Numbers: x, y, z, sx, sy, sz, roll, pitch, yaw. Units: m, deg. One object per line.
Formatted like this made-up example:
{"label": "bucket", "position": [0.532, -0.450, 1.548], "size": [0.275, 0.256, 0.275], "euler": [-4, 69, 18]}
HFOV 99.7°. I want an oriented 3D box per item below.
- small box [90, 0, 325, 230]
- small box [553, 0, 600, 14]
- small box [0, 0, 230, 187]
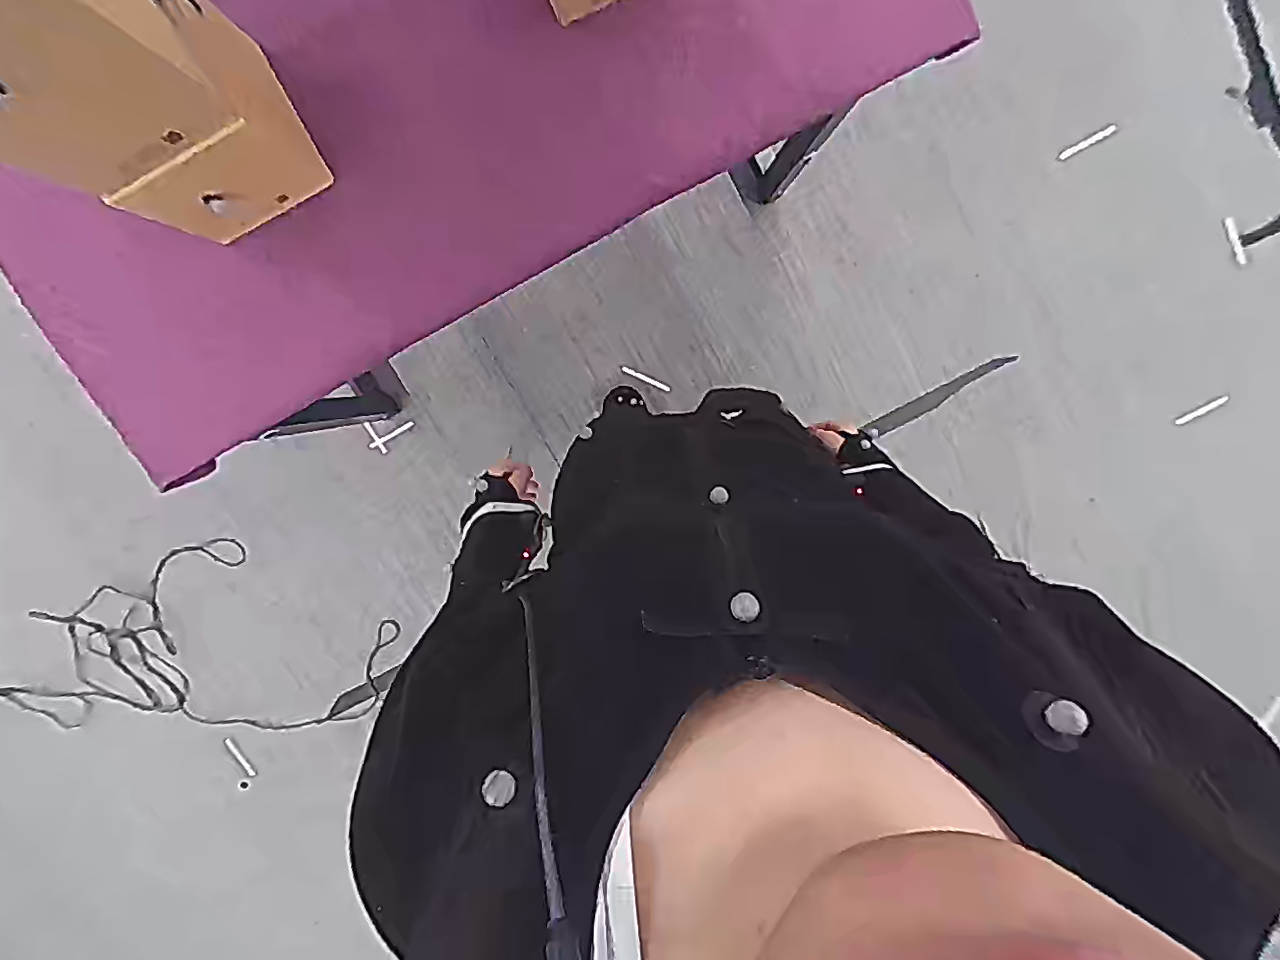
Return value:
{"label": "small box", "position": [-0.490, -0.397, 0.585], "size": [0.168, 0.176, 0.179], "euler": [-27, 99, 3]}
{"label": "small box", "position": [-0.055, -0.648, 0.552], "size": [0.168, 0.176, 0.179], "euler": [-23, 100, 3]}
{"label": "small box", "position": [-0.488, -0.373, 0.422], "size": [0.168, 0.176, 0.179], "euler": [-28, 99, 4]}
